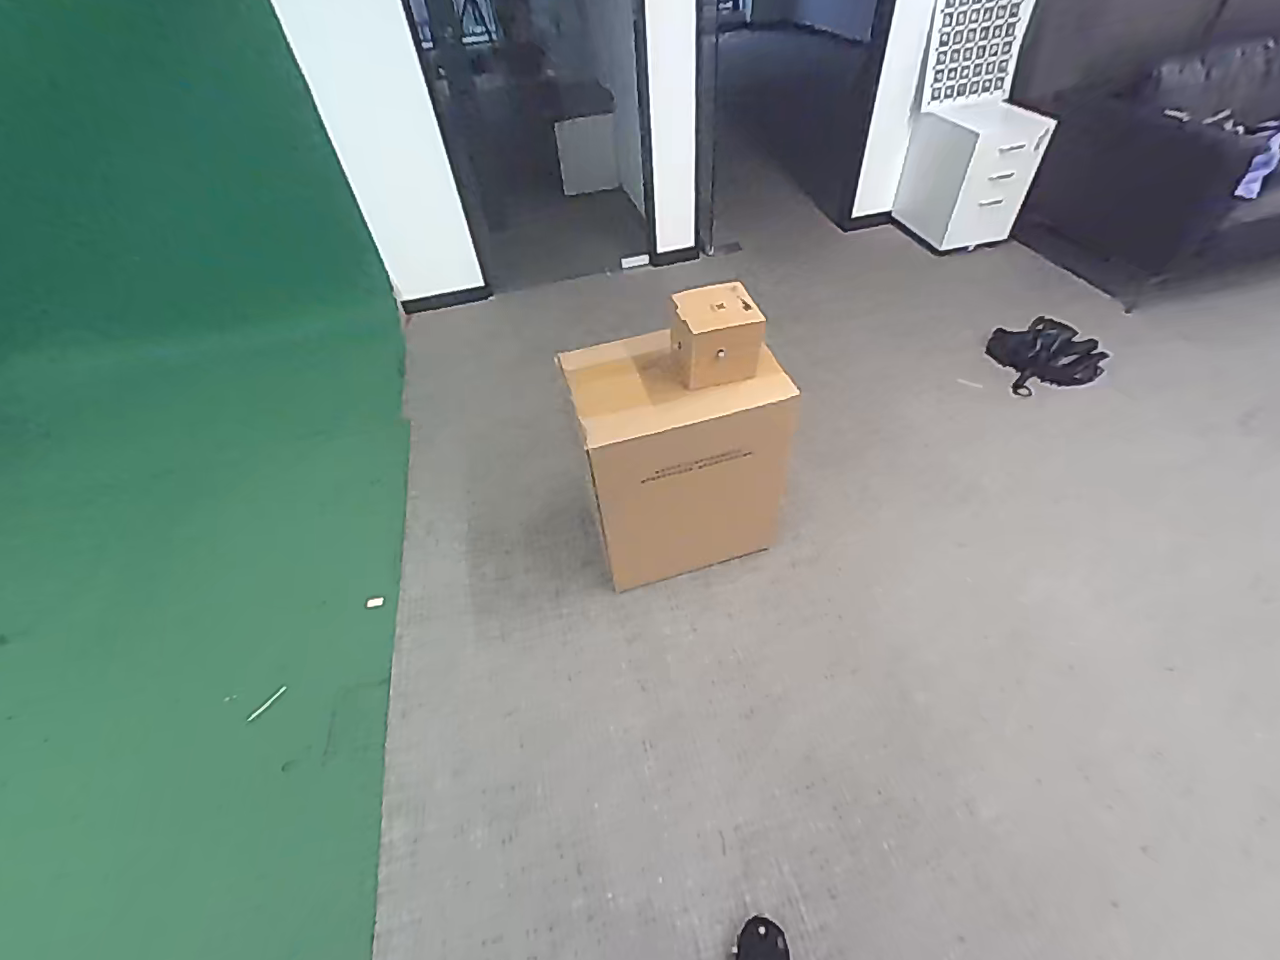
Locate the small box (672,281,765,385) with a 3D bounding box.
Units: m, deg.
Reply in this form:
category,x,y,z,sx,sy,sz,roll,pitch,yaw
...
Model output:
category,x,y,z,sx,sy,sz,roll,pitch,yaw
small box,0.184,-0.351,1.312,0.179,0.176,0.168,-13,53,-7
